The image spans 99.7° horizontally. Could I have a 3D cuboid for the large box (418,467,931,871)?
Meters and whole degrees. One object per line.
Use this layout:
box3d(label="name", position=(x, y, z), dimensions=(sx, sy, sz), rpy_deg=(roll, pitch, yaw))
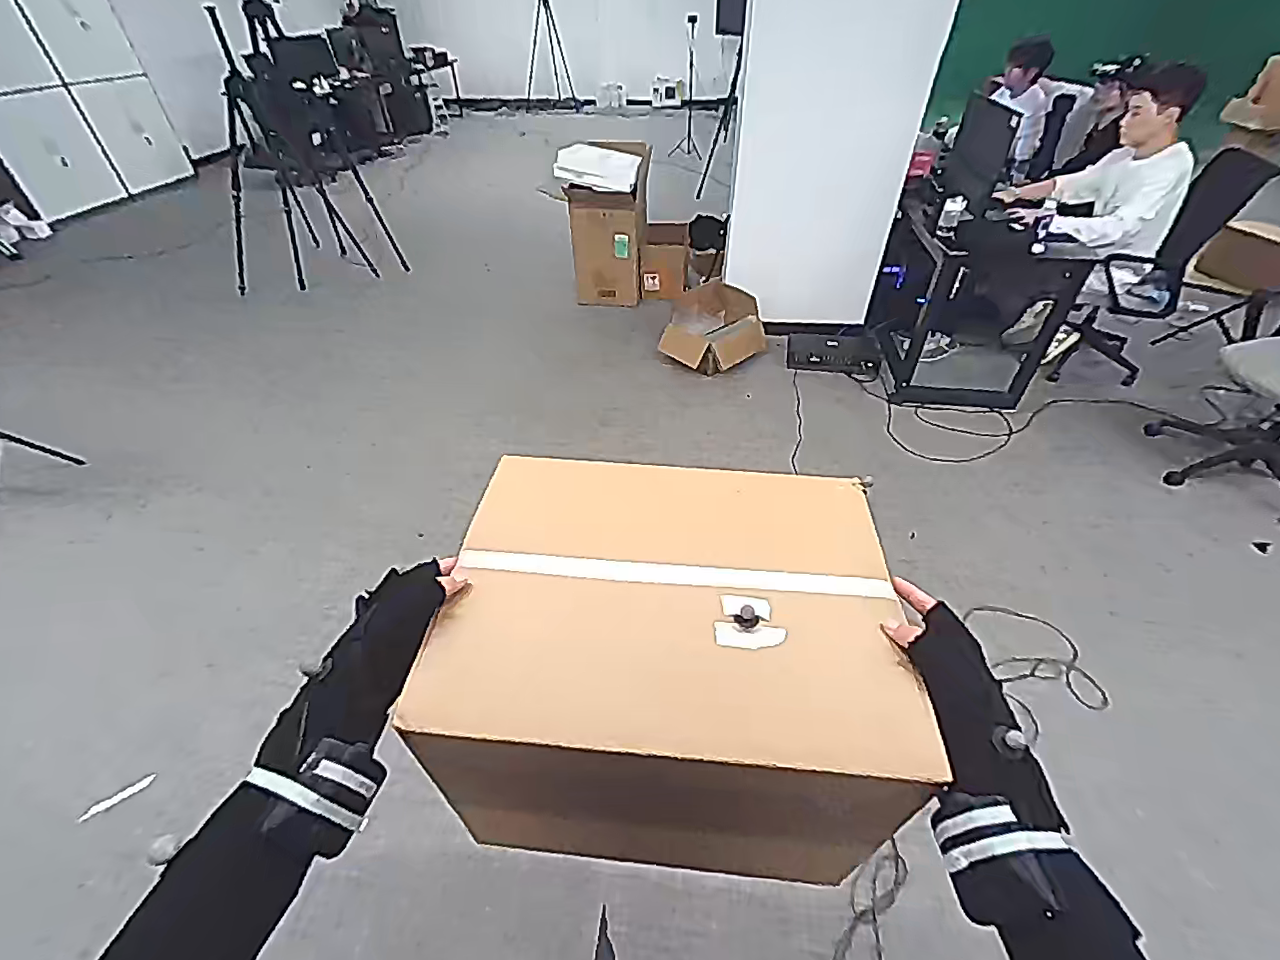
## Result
box3d(label="large box", position=(0.030, 0.209, 0.618), dimensions=(0.408, 0.320, 0.320), rpy_deg=(5, 43, 4))
